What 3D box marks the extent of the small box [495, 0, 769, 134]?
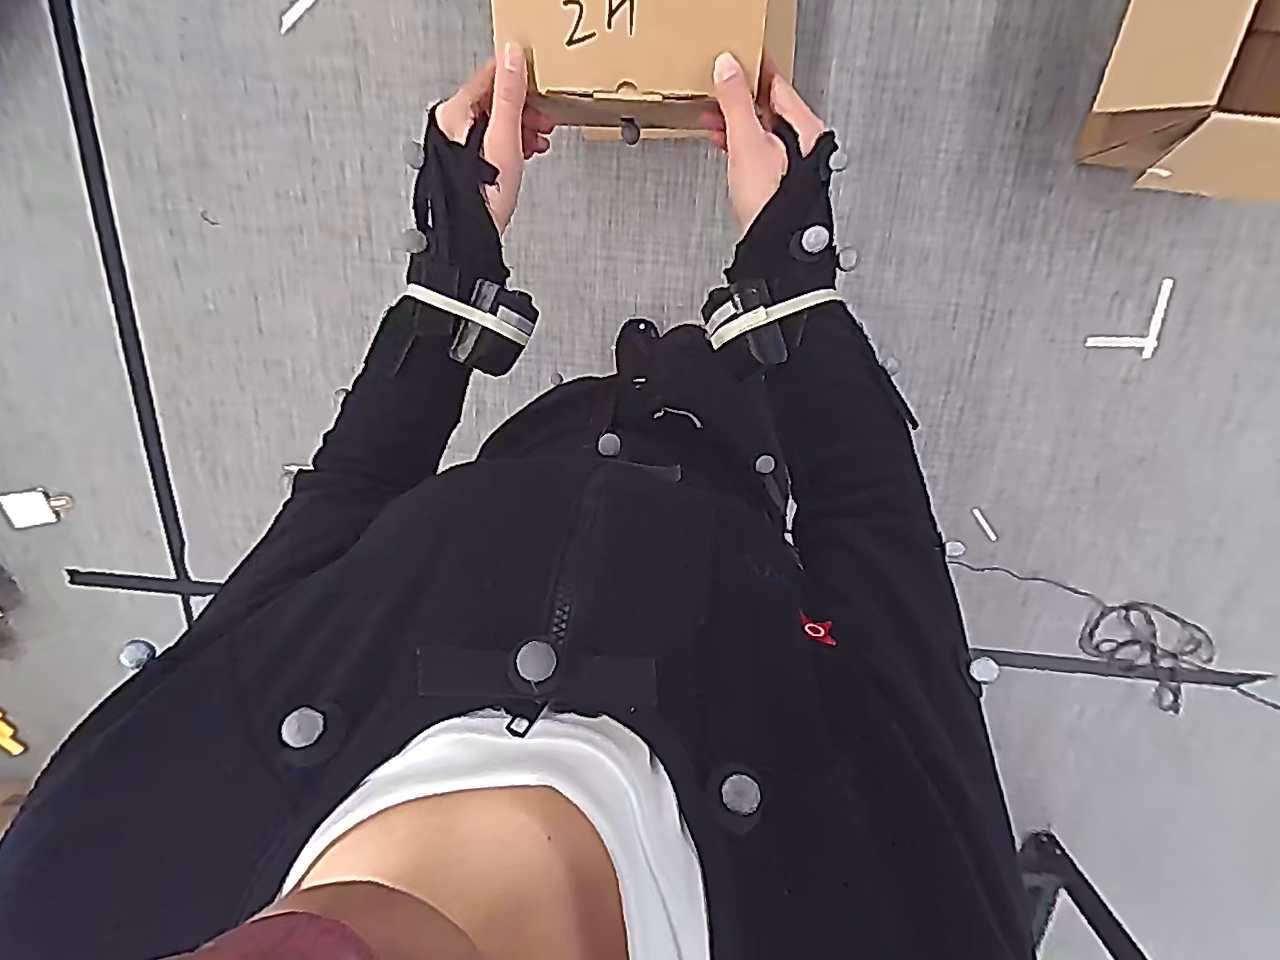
[{"bbox_3d":[-0.002,-0.357,0.374,0.168,0.176,0.179,2,117,0],"label":"small box"}]
